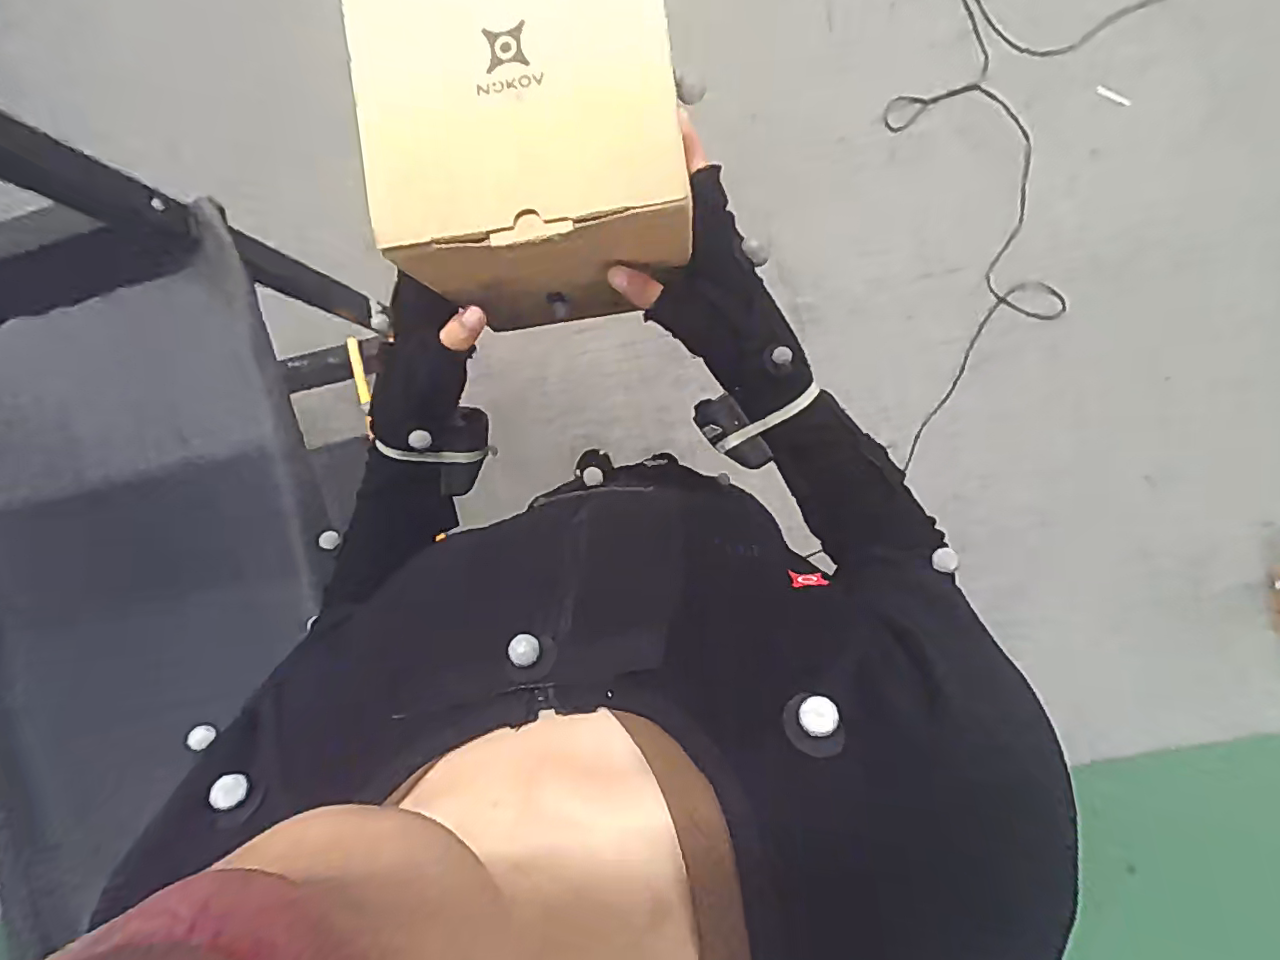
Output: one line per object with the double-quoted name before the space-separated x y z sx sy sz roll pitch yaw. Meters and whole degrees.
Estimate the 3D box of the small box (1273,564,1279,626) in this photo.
"small box" 1.677 0.284 1.284 0.179 0.176 0.168 -10 92 4
